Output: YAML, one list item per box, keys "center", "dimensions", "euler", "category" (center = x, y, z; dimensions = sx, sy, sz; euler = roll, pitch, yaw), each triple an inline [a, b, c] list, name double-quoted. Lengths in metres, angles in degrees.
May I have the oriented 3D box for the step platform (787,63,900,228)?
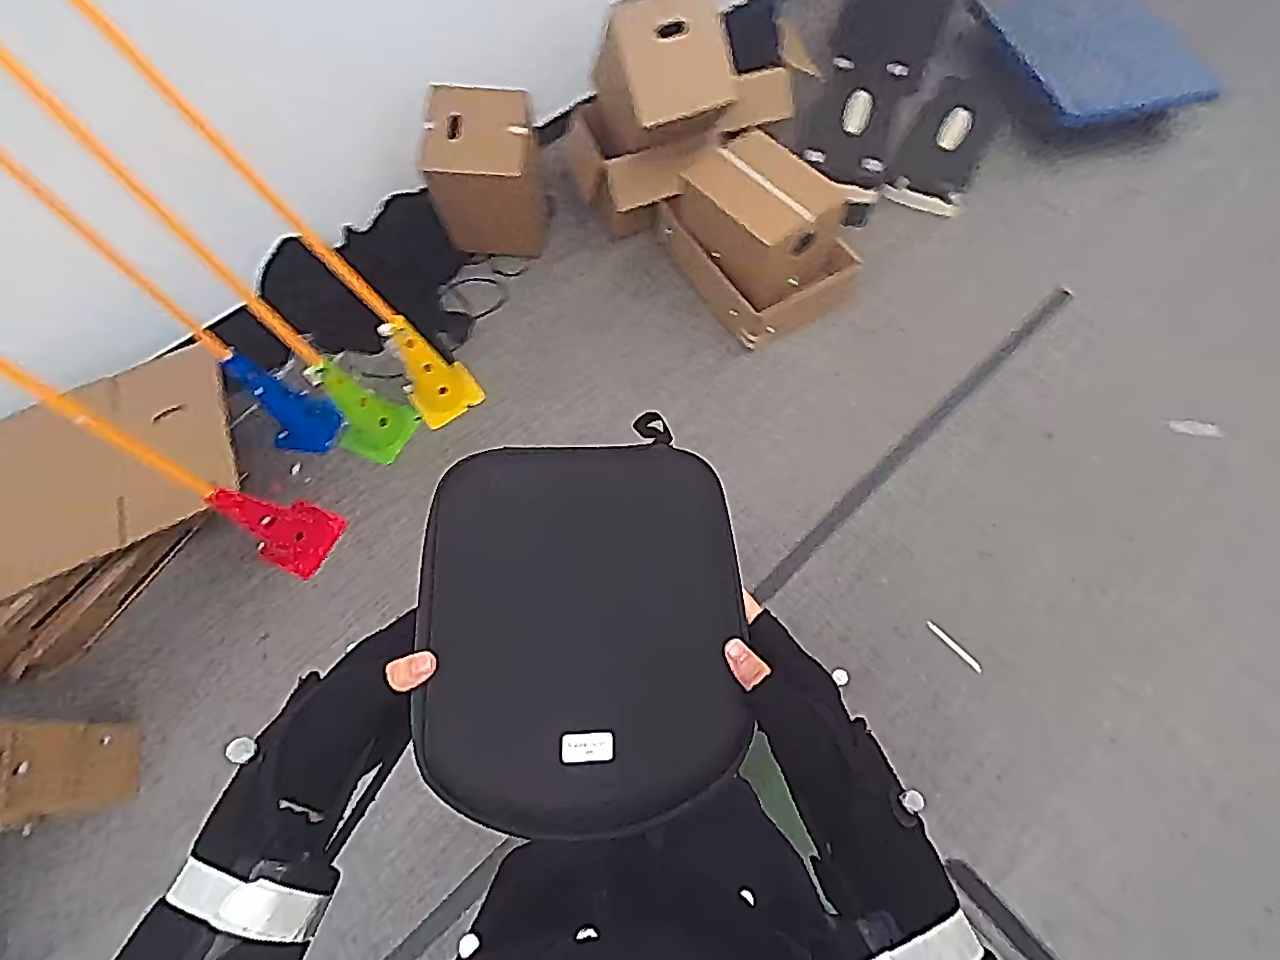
- center: [0.769, -1.269, 2.030]
  dimensions: [0.286, 0.204, 0.684]
  euler: [16, 68, 11]
  category: "step platform"
